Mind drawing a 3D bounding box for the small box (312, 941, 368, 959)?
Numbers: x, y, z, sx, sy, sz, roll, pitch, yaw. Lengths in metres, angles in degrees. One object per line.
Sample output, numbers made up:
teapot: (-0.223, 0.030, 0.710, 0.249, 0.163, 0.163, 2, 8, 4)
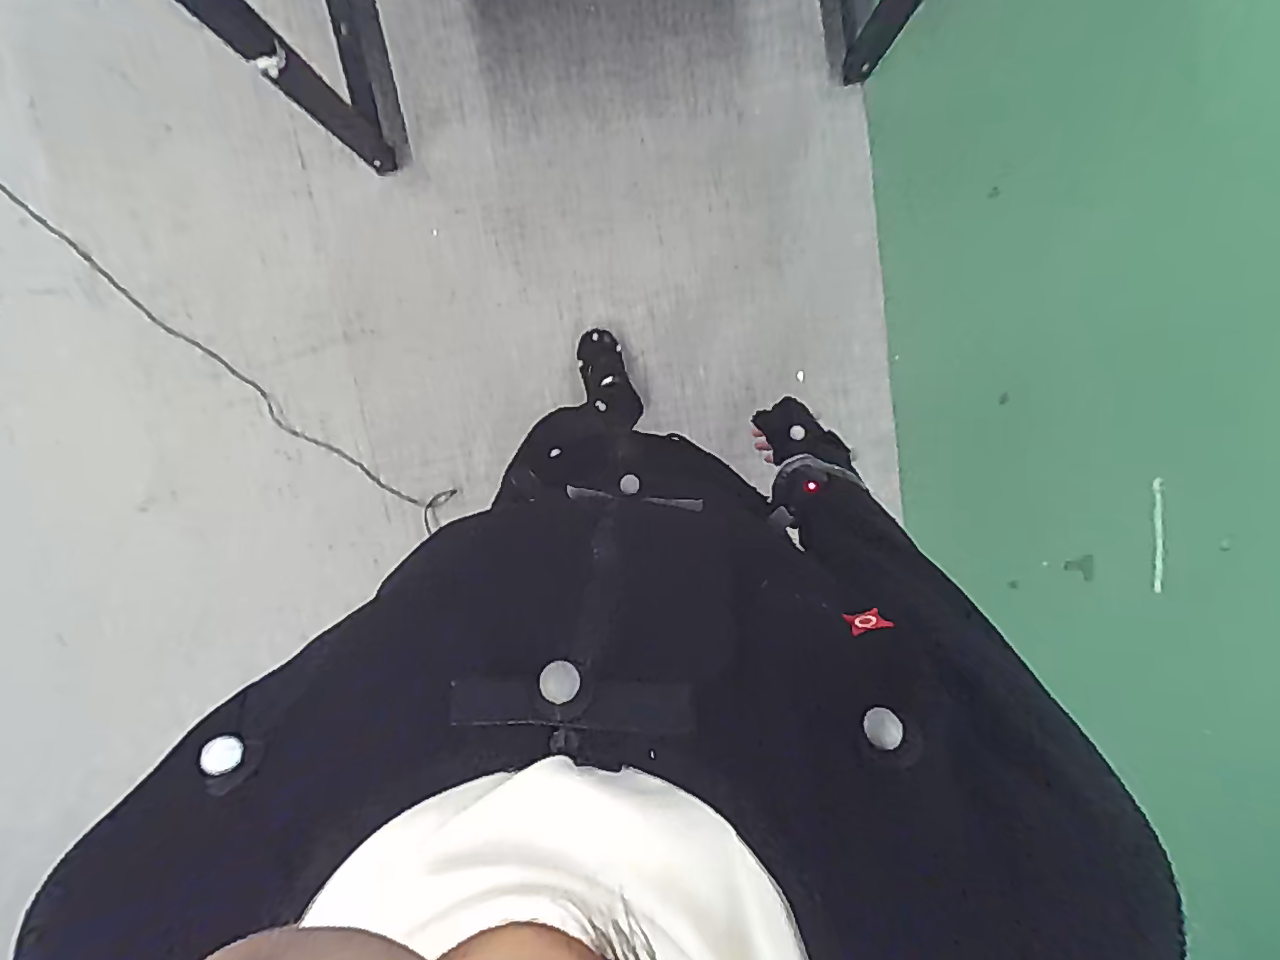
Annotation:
small box: (-0.699, 1.184, 1.191, 0.168, 0.176, 0.179, 27, 97, -3)
